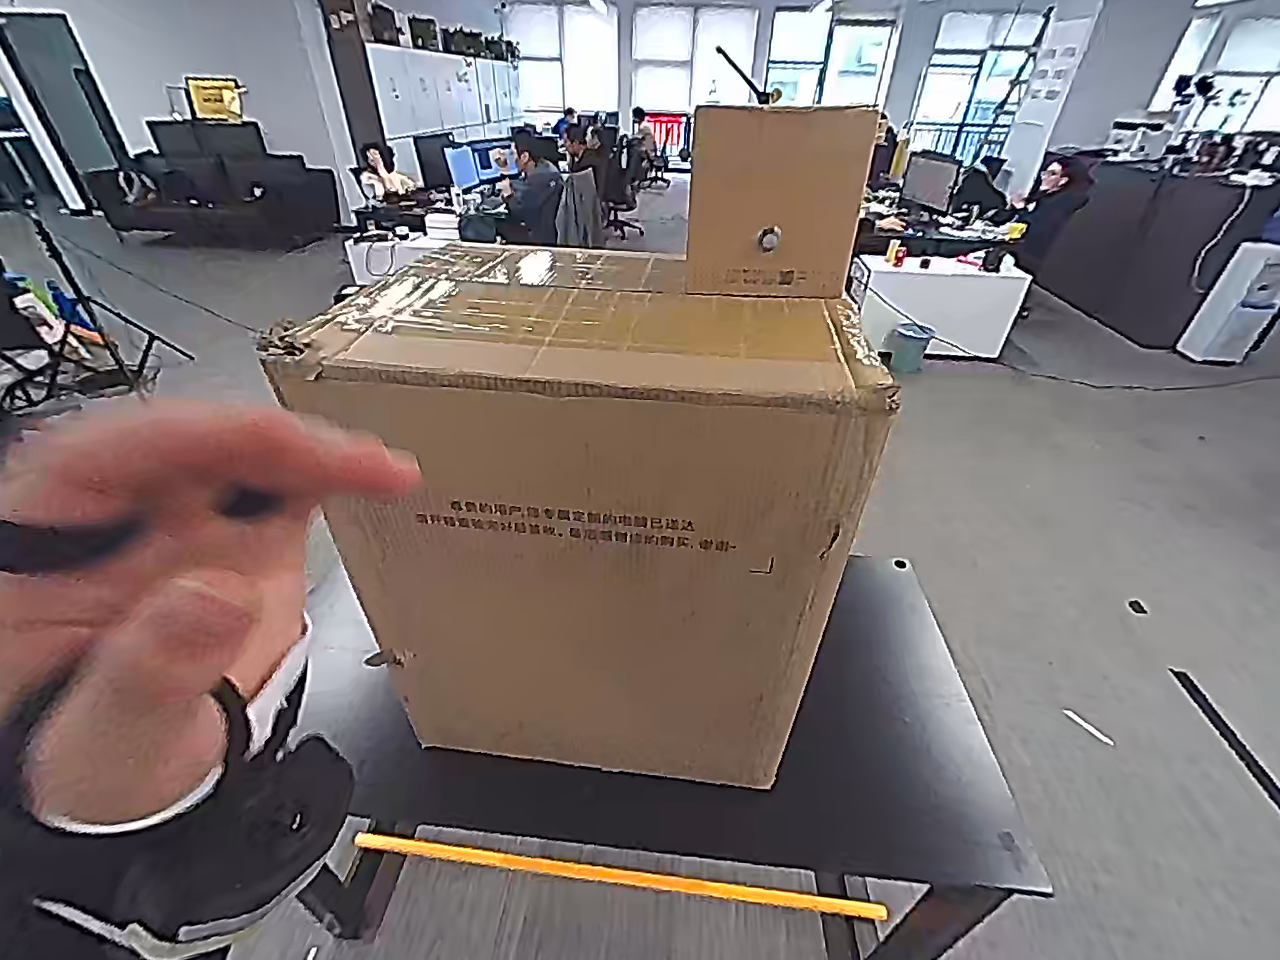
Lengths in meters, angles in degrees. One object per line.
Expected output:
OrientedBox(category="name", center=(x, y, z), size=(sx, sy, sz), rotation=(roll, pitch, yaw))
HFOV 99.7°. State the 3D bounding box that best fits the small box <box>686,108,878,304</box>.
OrientedBox(category="small box", center=(0.137, -0.304, 0.597), size=(0.168, 0.176, 0.179), rotation=(3, 33, 4))
